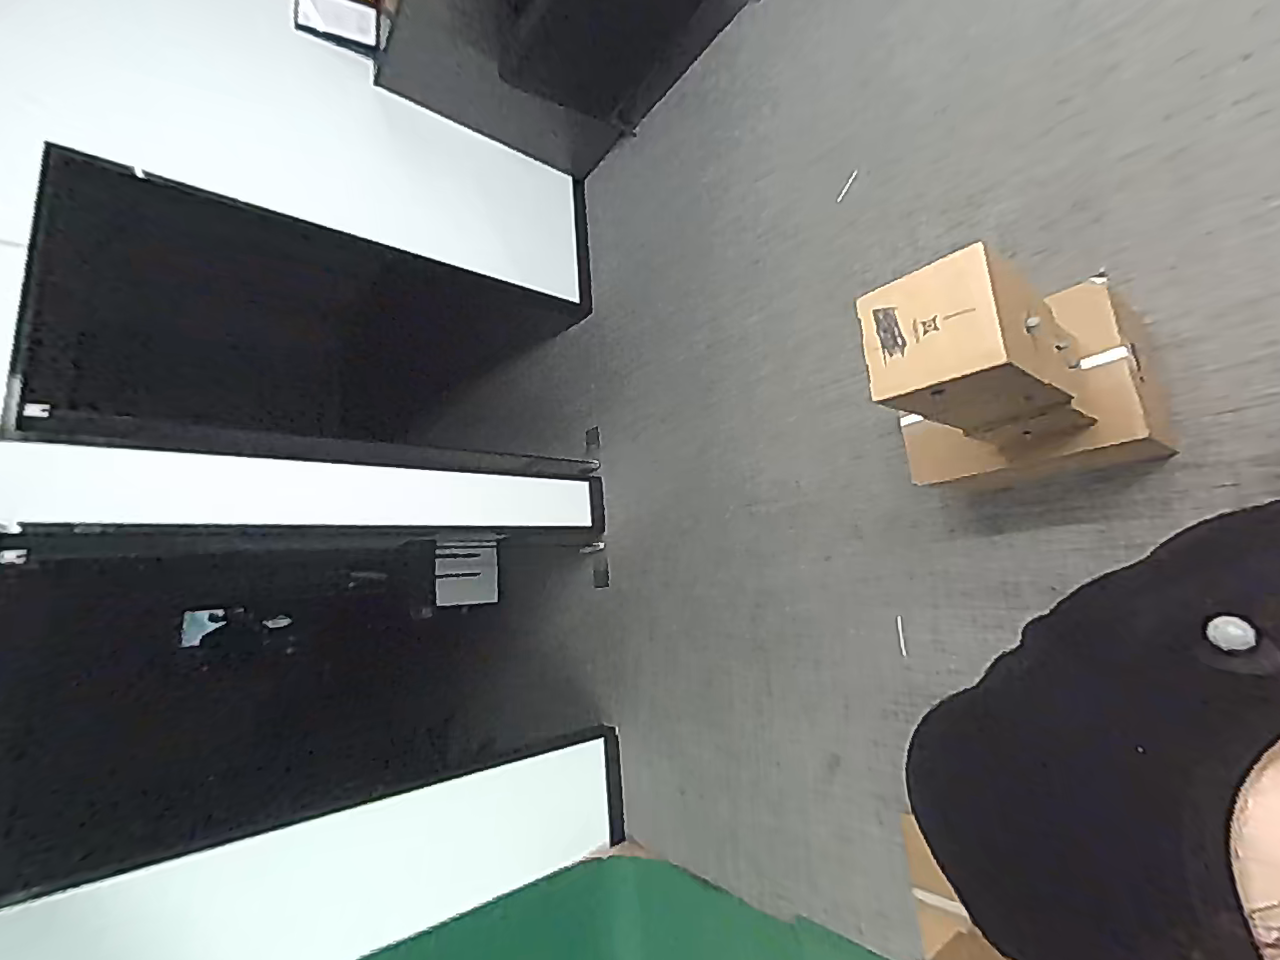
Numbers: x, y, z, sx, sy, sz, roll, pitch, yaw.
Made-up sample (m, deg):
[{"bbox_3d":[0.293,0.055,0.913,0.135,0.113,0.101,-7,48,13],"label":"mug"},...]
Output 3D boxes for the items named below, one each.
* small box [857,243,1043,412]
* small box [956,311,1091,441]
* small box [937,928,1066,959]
[{"bbox_3d":[0.451,-0.206,0.791,0.179,0.176,0.168,-16,76,48],"label":"small box"},{"bbox_3d":[0.700,-0.182,1.005,0.168,0.176,0.179,-21,72,48],"label":"small box"},{"bbox_3d":[0.565,0.832,0.823,0.179,0.176,0.168,-27,66,49],"label":"small box"}]
